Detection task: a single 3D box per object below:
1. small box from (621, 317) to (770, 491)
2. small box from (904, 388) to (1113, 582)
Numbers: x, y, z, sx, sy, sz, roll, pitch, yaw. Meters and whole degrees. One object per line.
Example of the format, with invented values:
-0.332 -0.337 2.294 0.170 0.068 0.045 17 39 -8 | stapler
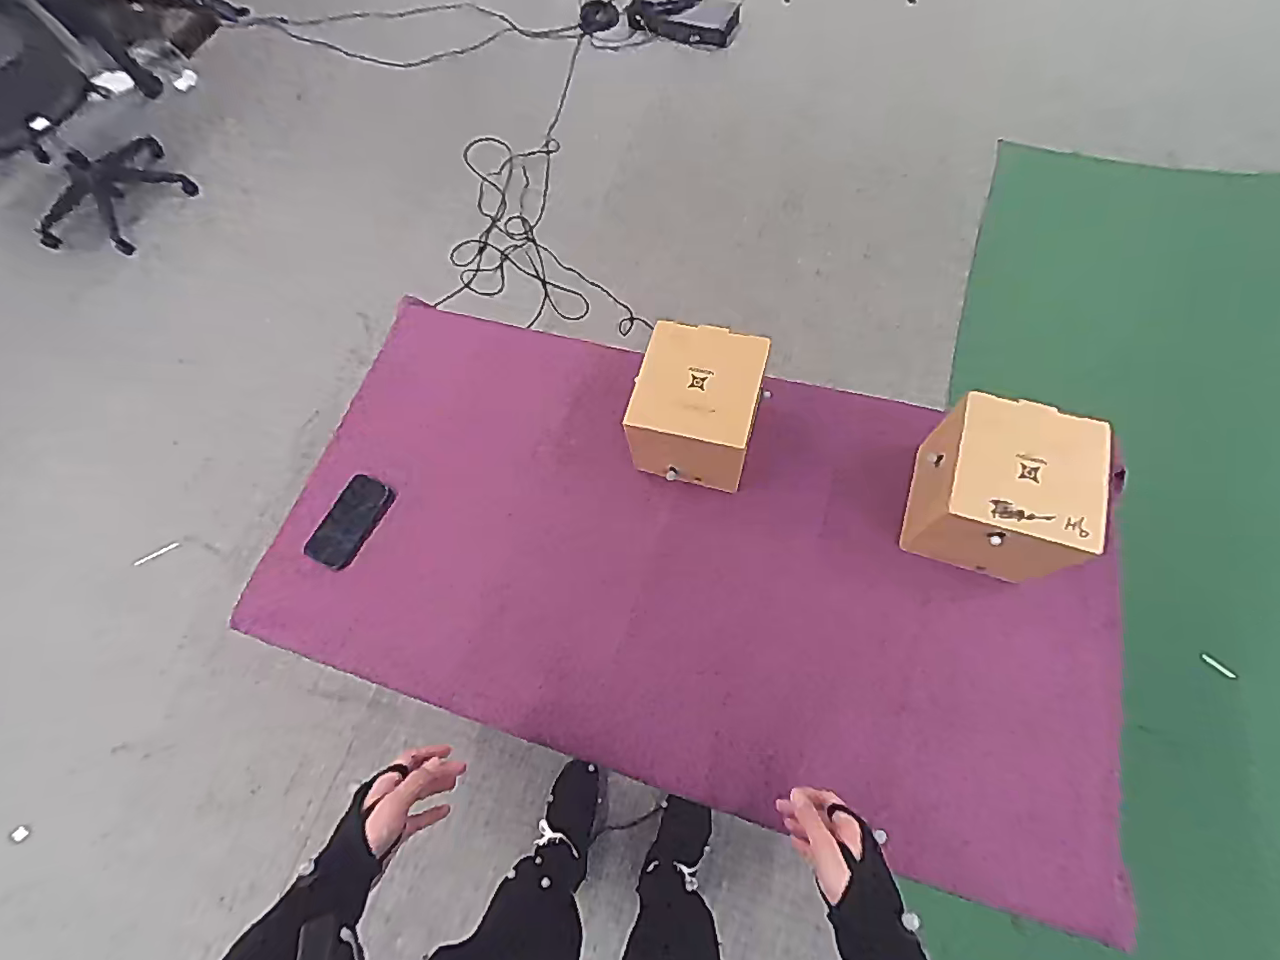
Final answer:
0.083 -0.106 0.795 0.168 0.176 0.179 13 70 12 | small box
0.466 0.013 0.707 0.168 0.176 0.179 16 70 13 | small box
